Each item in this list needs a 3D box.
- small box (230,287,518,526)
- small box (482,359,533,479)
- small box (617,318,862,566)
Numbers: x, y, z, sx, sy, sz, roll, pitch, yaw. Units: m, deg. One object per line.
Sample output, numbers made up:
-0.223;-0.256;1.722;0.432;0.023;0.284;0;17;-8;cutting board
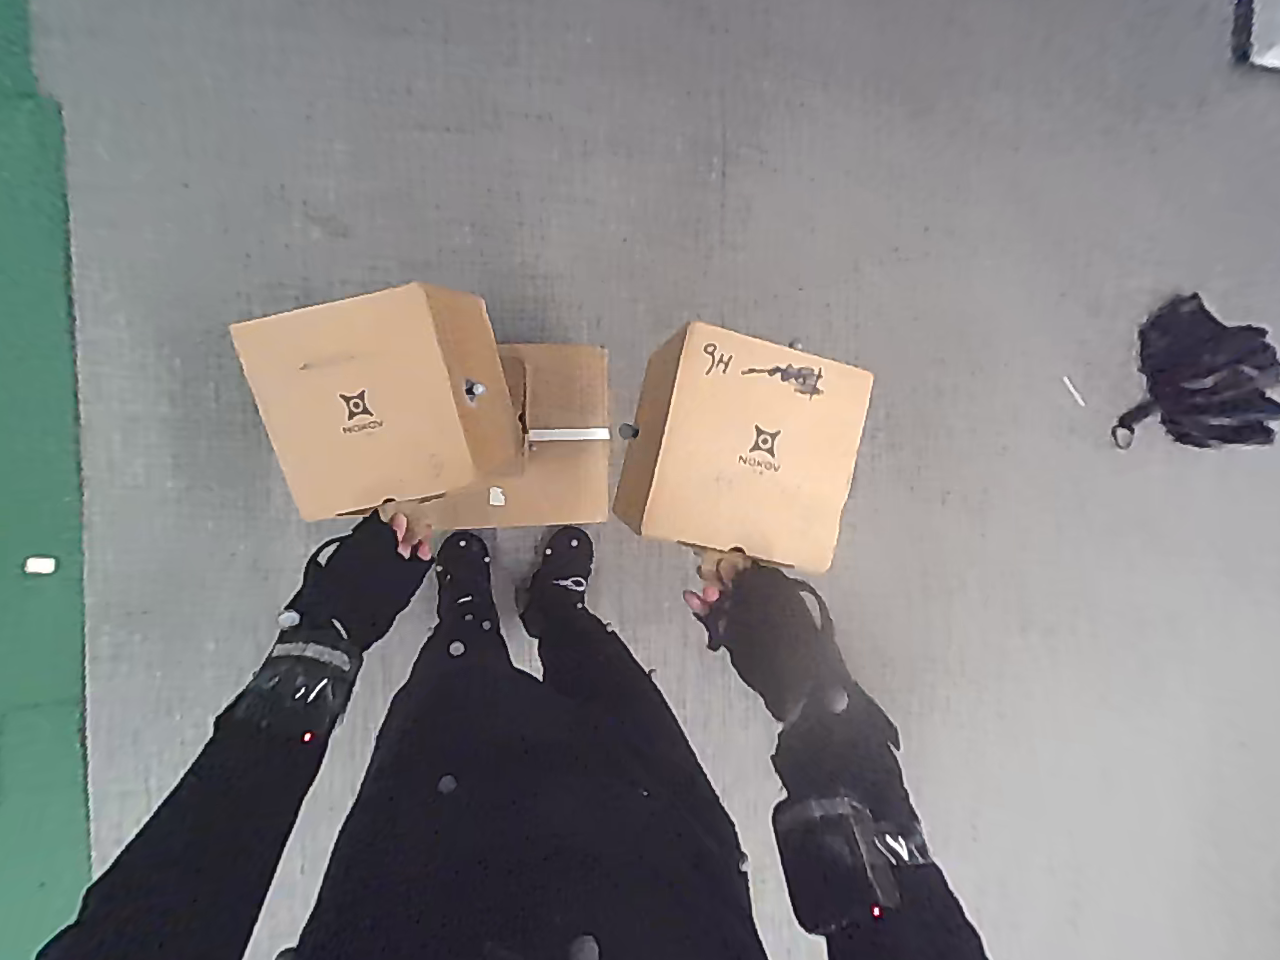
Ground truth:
-0.233;-0.076;0.528;0.168;0.176;0.179;-12;104;4;small box
-0.256;-0.098;0.813;0.179;0.176;0.168;5;95;-10;small box
0.078;-0.032;0.522;0.168;0.176;0.179;12;91;-11;small box
